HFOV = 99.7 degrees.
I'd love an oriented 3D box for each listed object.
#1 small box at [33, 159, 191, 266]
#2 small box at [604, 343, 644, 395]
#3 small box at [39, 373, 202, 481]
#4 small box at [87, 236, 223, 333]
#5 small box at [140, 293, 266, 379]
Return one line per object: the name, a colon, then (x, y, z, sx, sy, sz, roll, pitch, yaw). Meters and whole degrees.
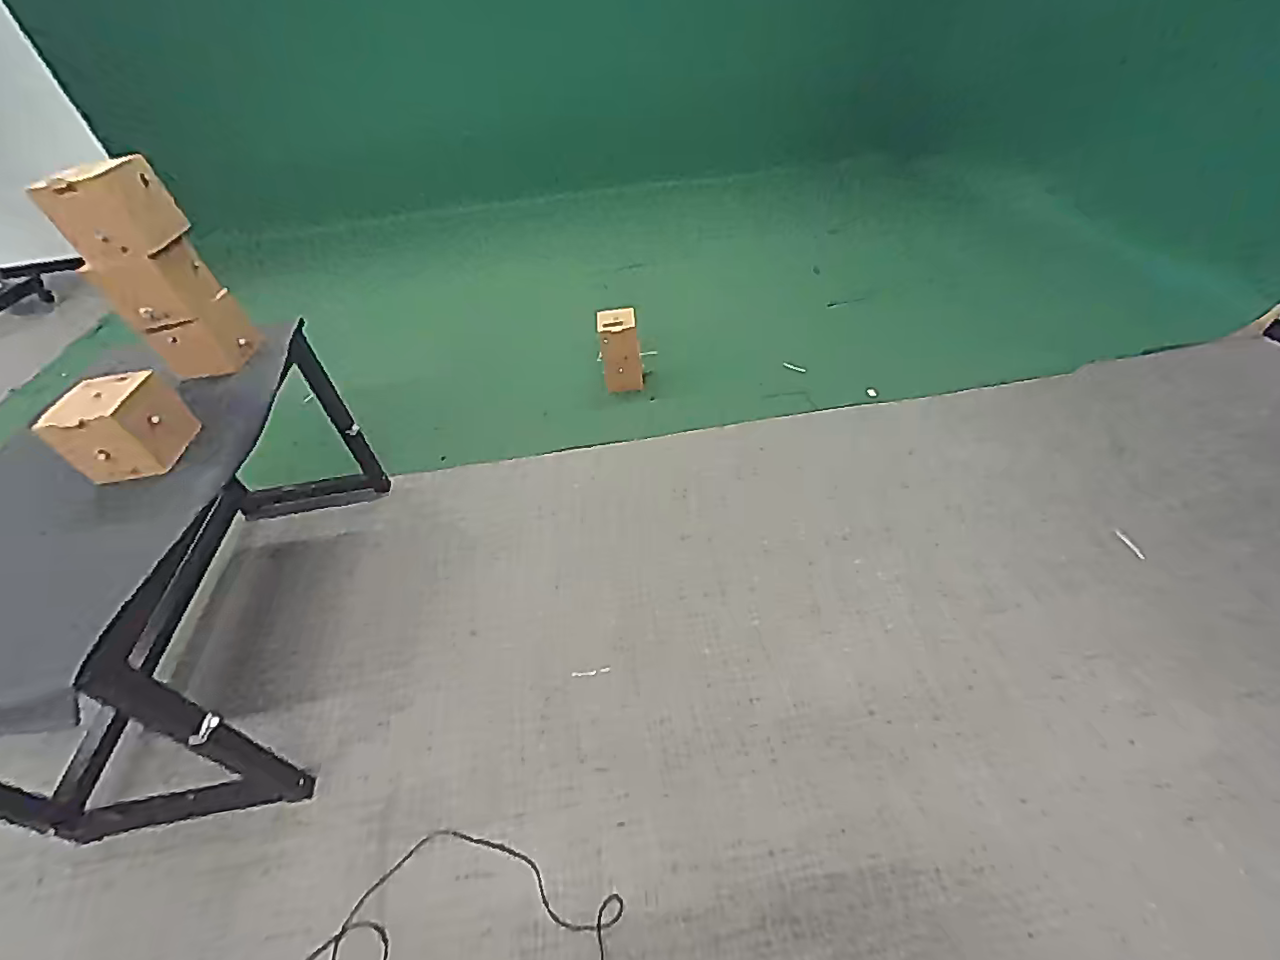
small box: (-1.220, -0.628, 1.271, 0.168, 0.176, 0.179, -10, 45, 2)
small box: (-0.073, -0.520, 2.540, 0.179, 0.176, 0.168, -6, 45, 1)
small box: (-1.147, -0.113, 1.217, 0.168, 0.176, 0.179, -8, 46, 0)
small box: (-1.219, -0.500, 1.379, 0.168, 0.176, 0.179, -13, 47, -1)
small box: (-1.201, -0.395, 1.501, 0.179, 0.176, 0.168, -6, 46, 3)
